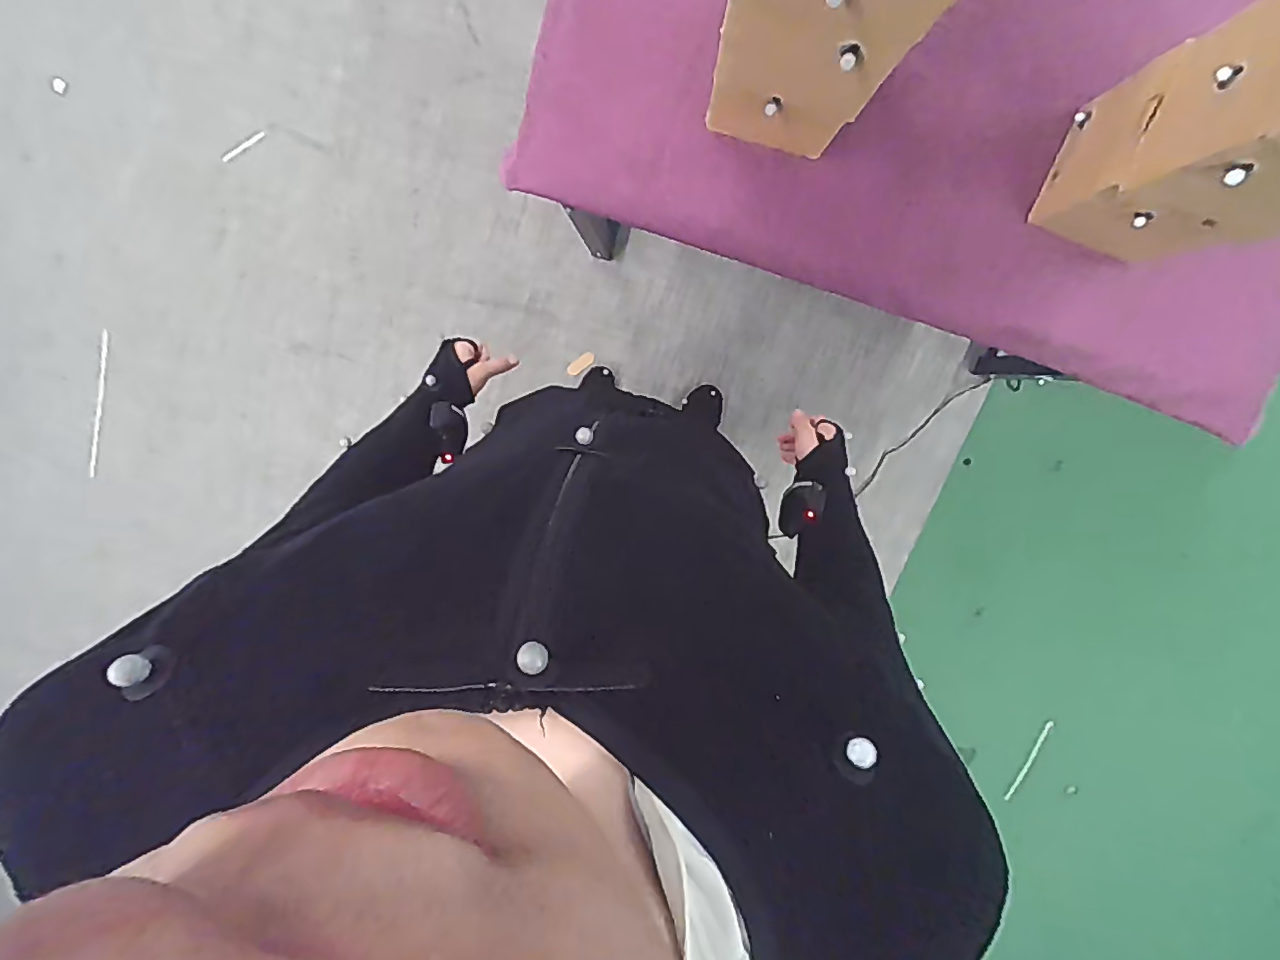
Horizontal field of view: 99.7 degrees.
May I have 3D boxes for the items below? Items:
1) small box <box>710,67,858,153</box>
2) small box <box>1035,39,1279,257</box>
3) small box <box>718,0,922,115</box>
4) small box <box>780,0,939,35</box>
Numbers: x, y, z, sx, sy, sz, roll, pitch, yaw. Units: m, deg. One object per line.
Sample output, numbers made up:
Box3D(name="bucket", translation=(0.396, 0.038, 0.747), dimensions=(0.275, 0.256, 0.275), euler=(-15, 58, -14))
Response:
Box3D(name="small box", translation=(0.201, -0.557, 0.705), dimensions=(0.179, 0.176, 0.168), euler=(16, 102, 0))
Box3D(name="small box", translation=(0.678, -0.412, 0.707), dimensions=(0.179, 0.176, 0.168), euler=(20, 102, -2))
Box3D(name="small box", translation=(0.191, -0.509, 0.547), dimensions=(0.179, 0.176, 0.168), euler=(18, 102, 0))
Box3D(name="small box", translation=(0.182, -0.472, 0.387), dimensions=(0.179, 0.176, 0.168), euler=(17, 102, -1))
